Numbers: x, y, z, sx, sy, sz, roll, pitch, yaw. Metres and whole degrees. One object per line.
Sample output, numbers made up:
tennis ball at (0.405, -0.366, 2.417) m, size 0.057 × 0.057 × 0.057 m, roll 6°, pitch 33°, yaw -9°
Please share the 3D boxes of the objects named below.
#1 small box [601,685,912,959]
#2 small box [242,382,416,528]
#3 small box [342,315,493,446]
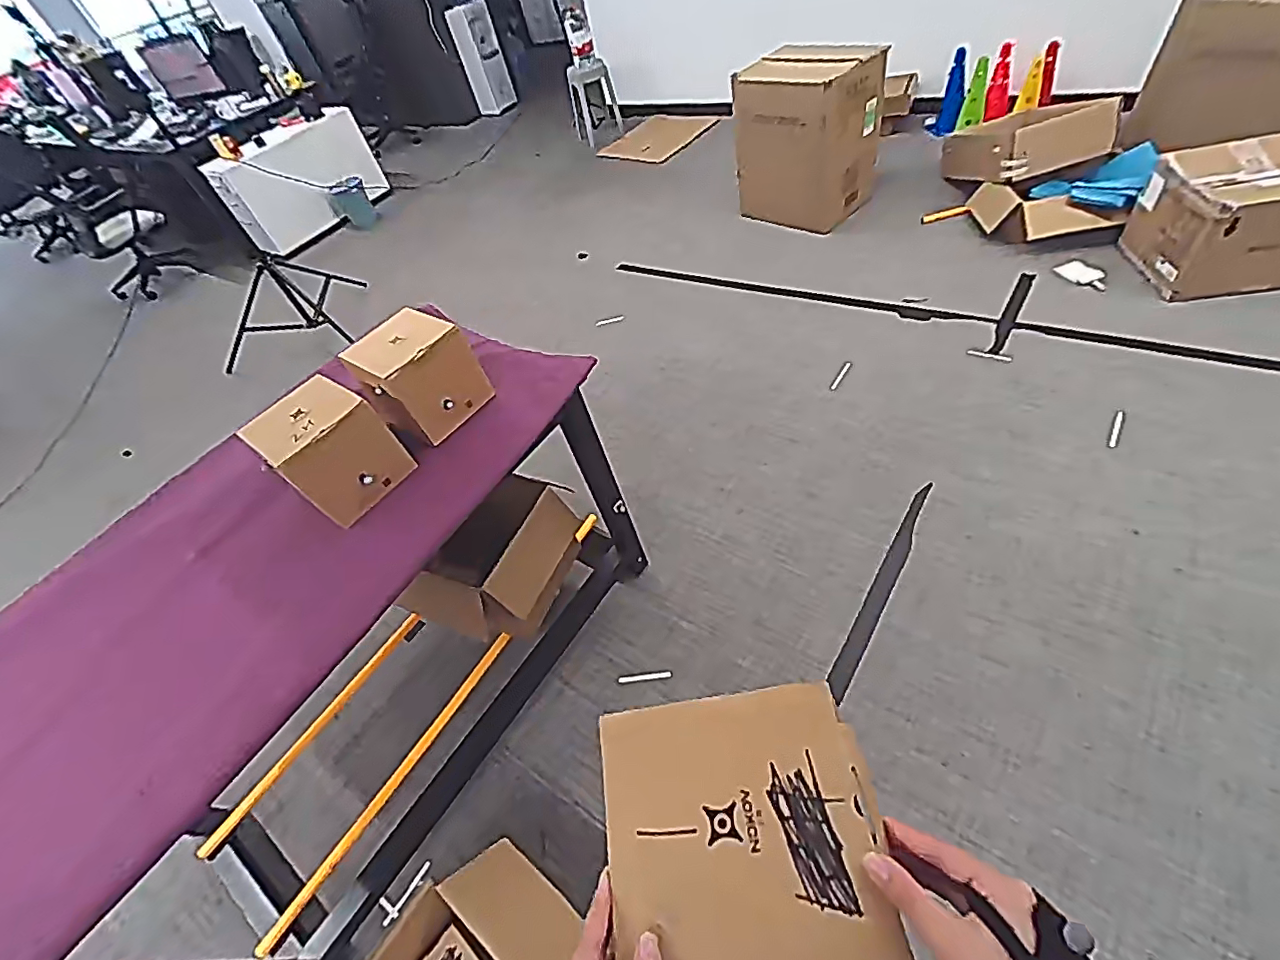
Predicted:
small box at (0.074, 0.276, 0.421) m, size 0.179 × 0.176 × 0.168 m, roll -11°, pitch 52°, yaw 3°
small box at (-0.540, -0.042, 0.954) m, size 0.179 × 0.176 × 0.168 m, roll 25°, pitch 61°, yaw 33°
small box at (-0.423, -0.190, 1.047) m, size 0.179 × 0.176 × 0.168 m, roll 25°, pitch 61°, yaw 33°
